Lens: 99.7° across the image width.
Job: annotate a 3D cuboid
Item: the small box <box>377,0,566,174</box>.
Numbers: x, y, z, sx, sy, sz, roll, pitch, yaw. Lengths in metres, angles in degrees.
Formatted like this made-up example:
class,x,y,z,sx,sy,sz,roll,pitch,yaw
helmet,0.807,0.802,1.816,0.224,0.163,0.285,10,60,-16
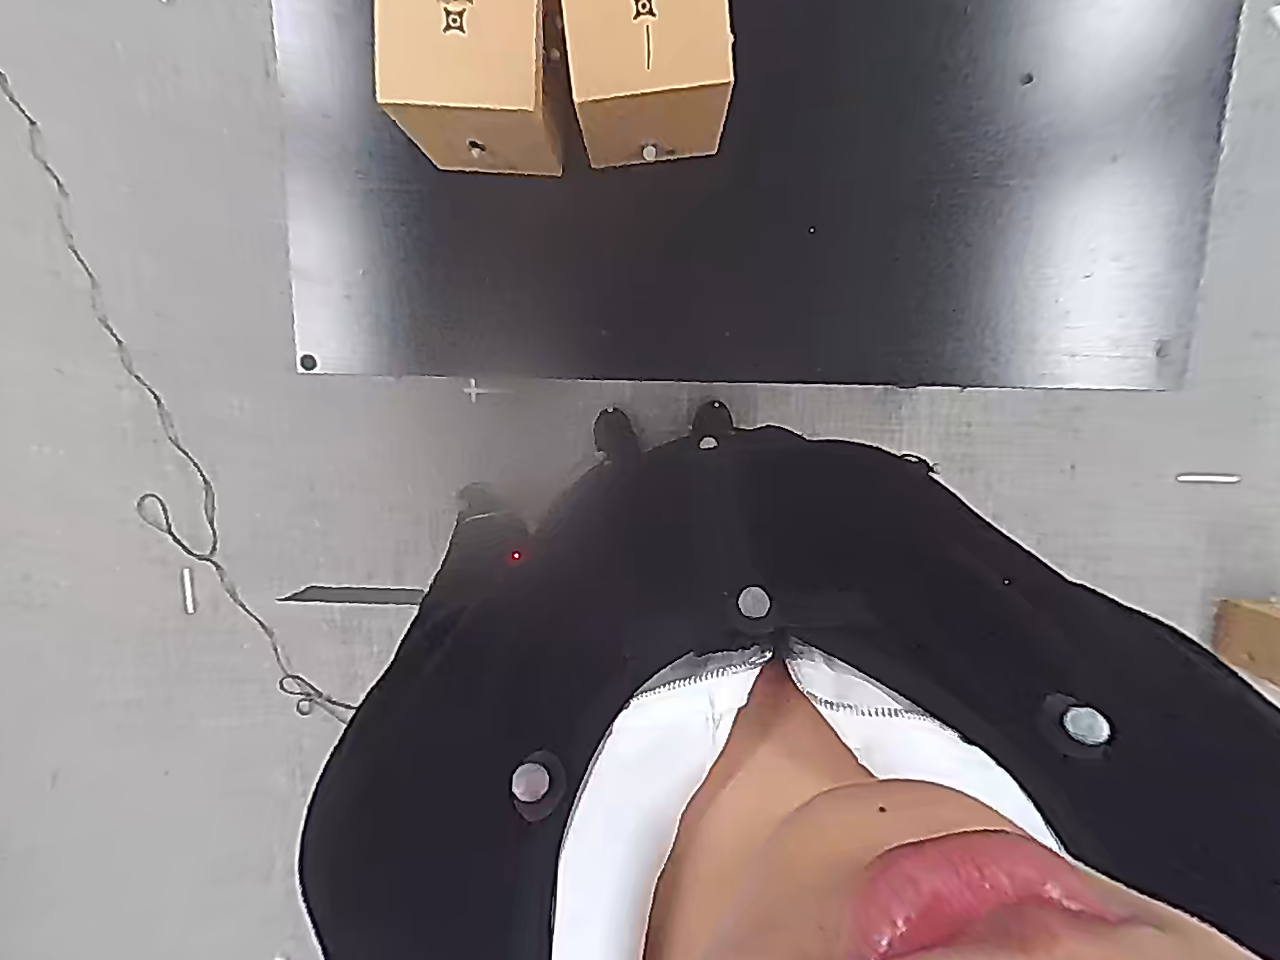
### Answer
class,x,y,z,sx,sy,sz,roll,pitch,yaw
small box,-0.181,-0.479,0.624,0.168,0.176,0.179,4,98,1

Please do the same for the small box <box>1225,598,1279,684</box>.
class,x,y,z,sx,sy,sz,roll,pitch,yaw
small box,1.695,0.422,1.406,0.168,0.176,0.179,0,98,2
